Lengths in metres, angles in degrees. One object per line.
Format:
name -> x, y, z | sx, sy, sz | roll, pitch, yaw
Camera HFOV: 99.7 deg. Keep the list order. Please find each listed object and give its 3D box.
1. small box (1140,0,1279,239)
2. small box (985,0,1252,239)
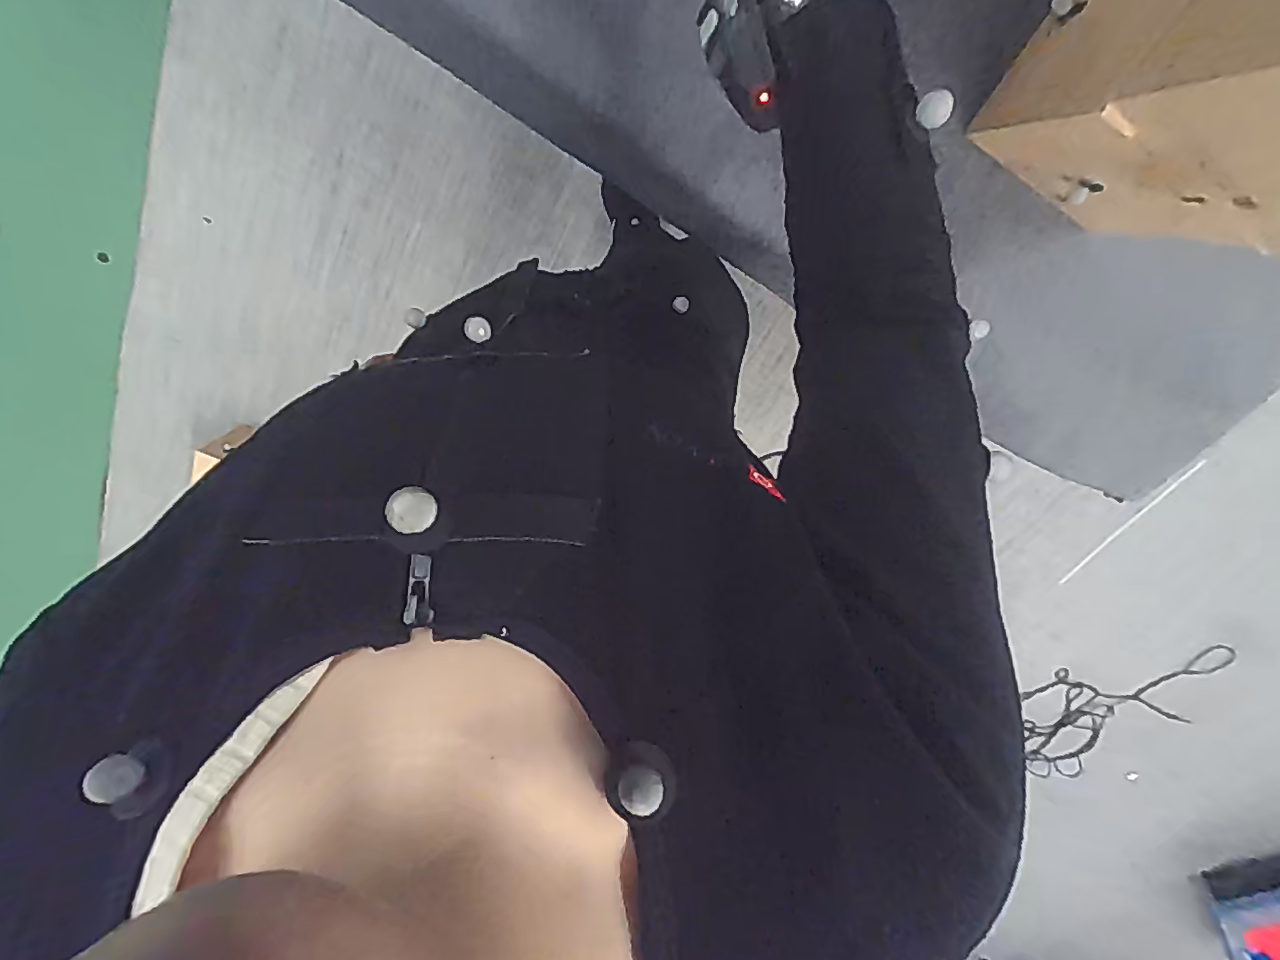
small box -> 0.395, -0.224, 0.246 | 0.168, 0.176, 0.179 | 29, 114, -15
small box -> 0.393, -0.304, 0.389 | 0.168, 0.176, 0.179 | 26, 116, -13
